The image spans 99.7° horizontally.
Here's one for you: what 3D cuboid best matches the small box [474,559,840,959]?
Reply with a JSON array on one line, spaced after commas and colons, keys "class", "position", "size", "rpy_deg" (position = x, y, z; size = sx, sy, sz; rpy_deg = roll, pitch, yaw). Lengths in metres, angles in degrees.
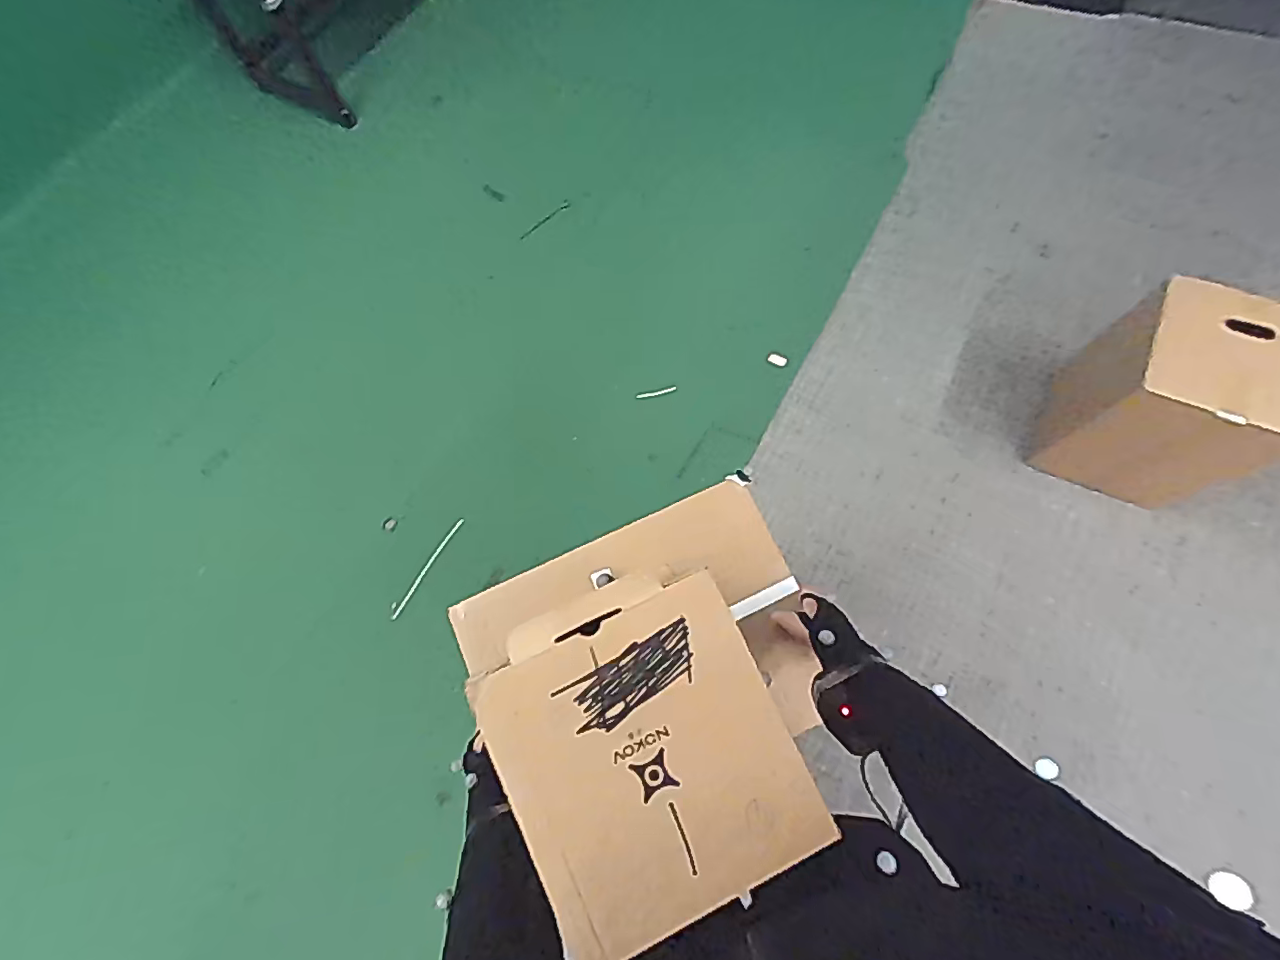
[{"class": "small box", "position": [0.004, 0.172, 0.392], "size": [0.168, 0.176, 0.179], "rpy_deg": [-24, 81, -6]}]
